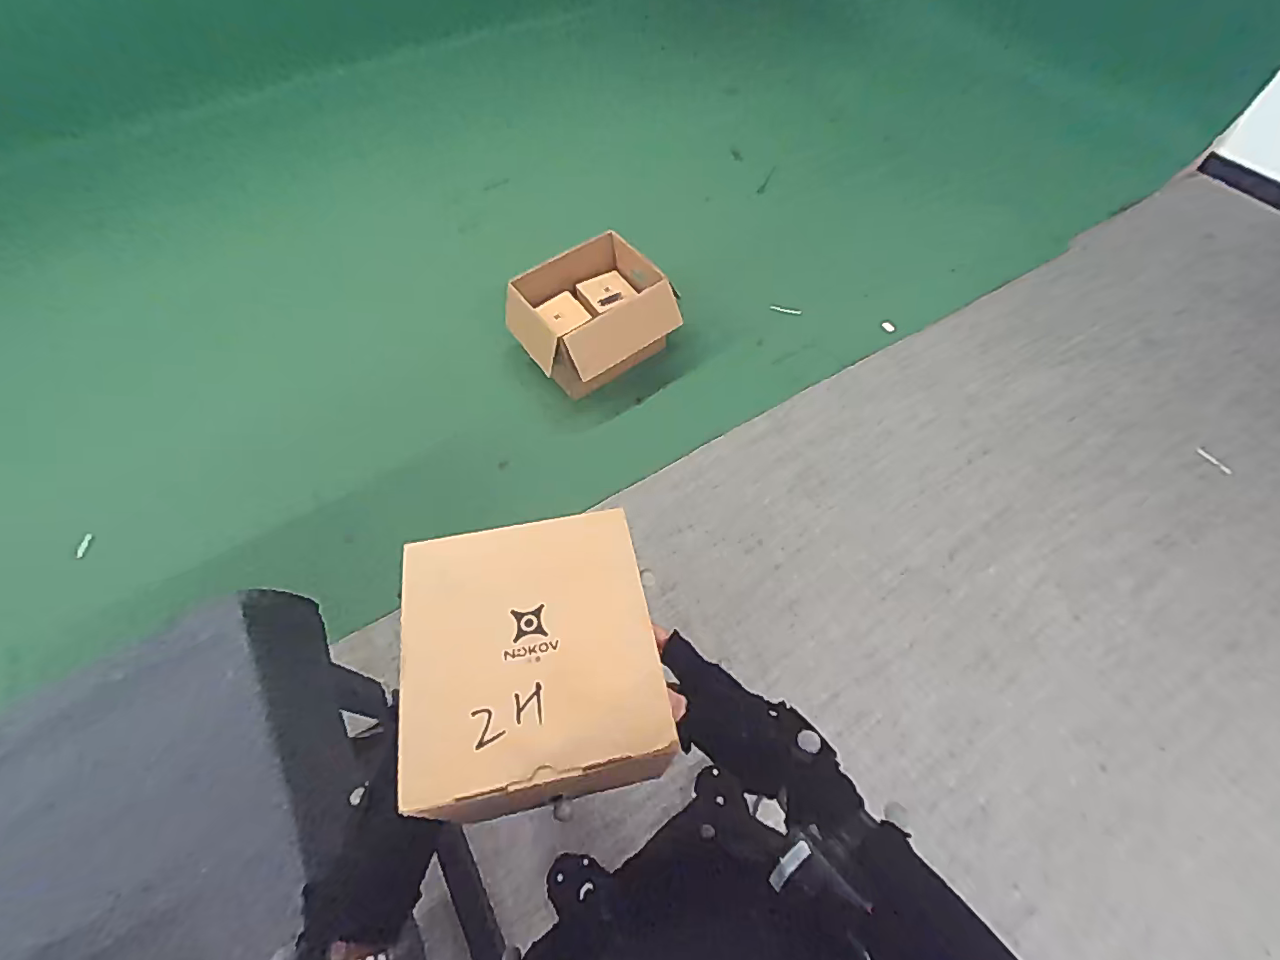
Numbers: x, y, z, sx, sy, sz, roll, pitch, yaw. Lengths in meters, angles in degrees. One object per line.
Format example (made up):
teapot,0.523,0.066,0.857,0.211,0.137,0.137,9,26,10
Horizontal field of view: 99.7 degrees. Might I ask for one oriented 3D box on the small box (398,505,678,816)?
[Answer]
small box,-0.075,0.145,0.427,0.168,0.176,0.179,-9,57,-8
